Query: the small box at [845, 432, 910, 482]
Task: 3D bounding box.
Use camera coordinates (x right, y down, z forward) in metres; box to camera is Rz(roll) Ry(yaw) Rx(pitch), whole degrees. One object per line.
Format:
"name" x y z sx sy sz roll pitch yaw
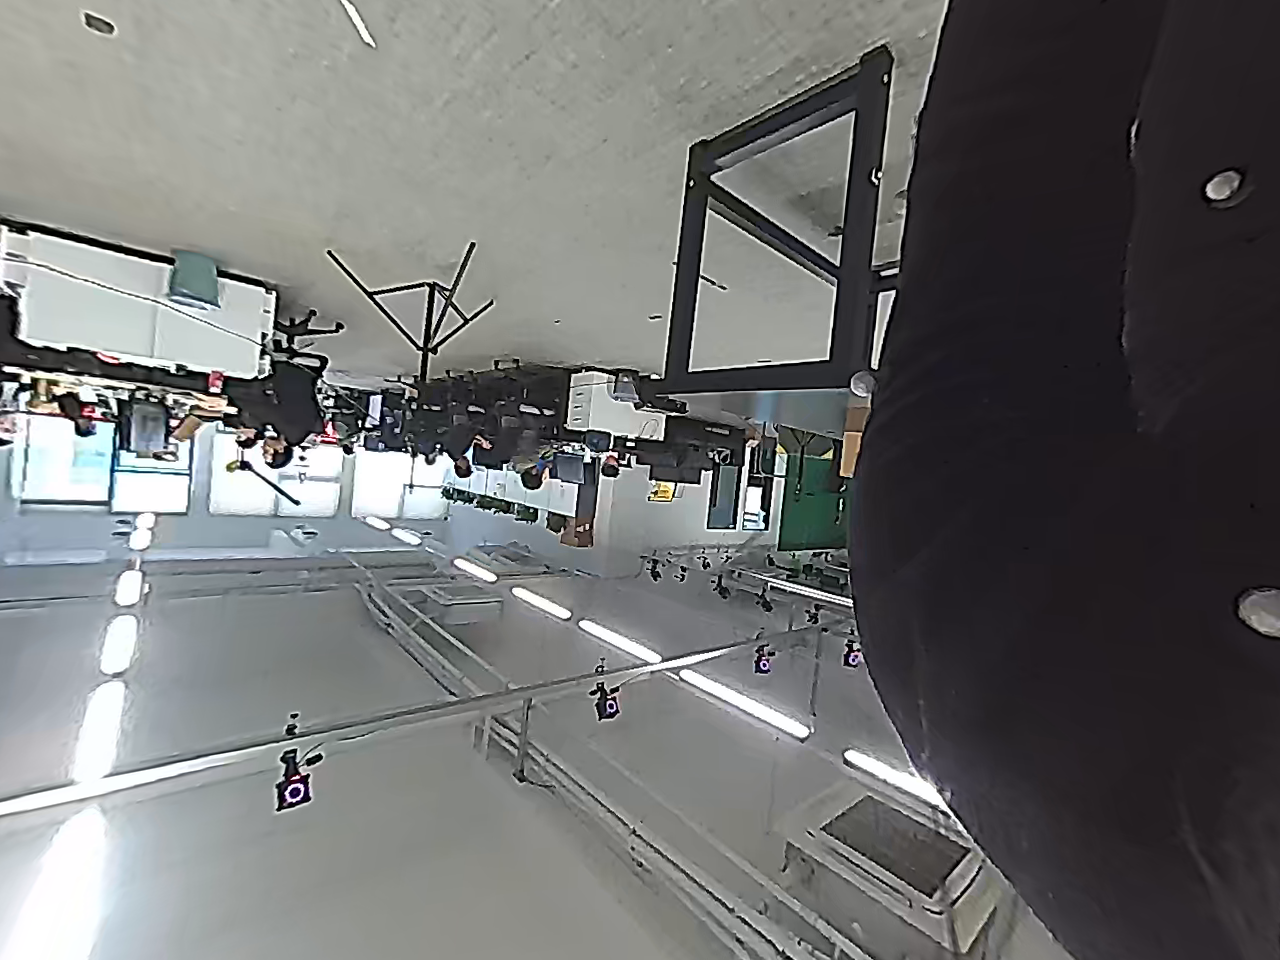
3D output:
"small box" 0.879 -0.086 1.994 0.168 0.176 0.179 6 -179 -45
